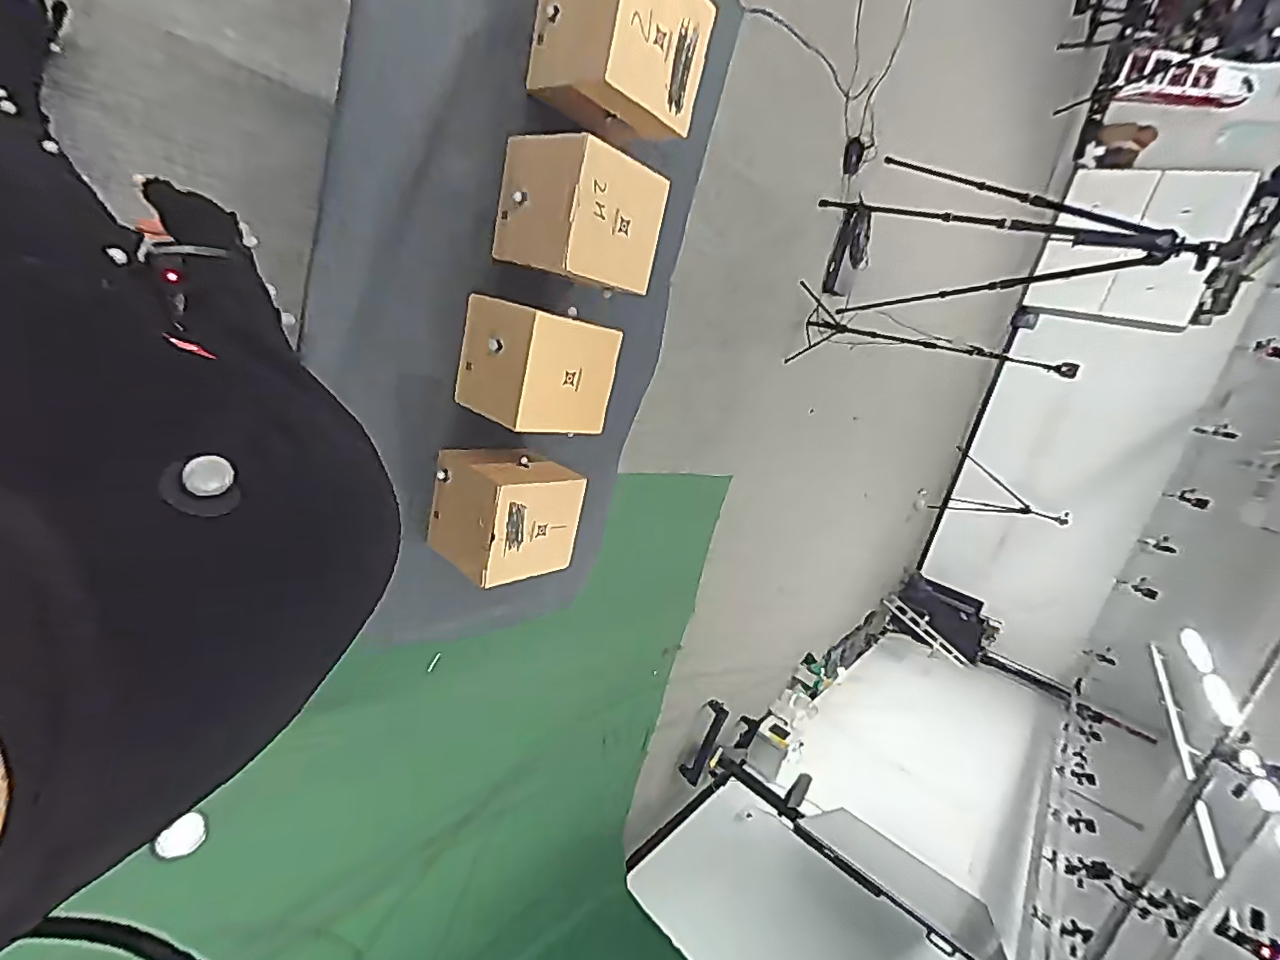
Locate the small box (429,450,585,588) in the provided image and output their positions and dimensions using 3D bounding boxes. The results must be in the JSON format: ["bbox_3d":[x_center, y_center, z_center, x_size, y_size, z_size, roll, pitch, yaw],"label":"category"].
[{"bbox_3d":[-0.222,0.053,0.888,0.179,0.176,0.168,-6,115,-51],"label":"small box"}]

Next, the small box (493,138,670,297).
[{"bbox_3d":[-0.087,-0.382,0.799,0.179,0.176,0.168,-6,114,-50],"label":"small box"}]

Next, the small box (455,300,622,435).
[{"bbox_3d":[-0.160,-0.173,0.835,0.179,0.176,0.168,-5,114,-51],"label":"small box"}]
